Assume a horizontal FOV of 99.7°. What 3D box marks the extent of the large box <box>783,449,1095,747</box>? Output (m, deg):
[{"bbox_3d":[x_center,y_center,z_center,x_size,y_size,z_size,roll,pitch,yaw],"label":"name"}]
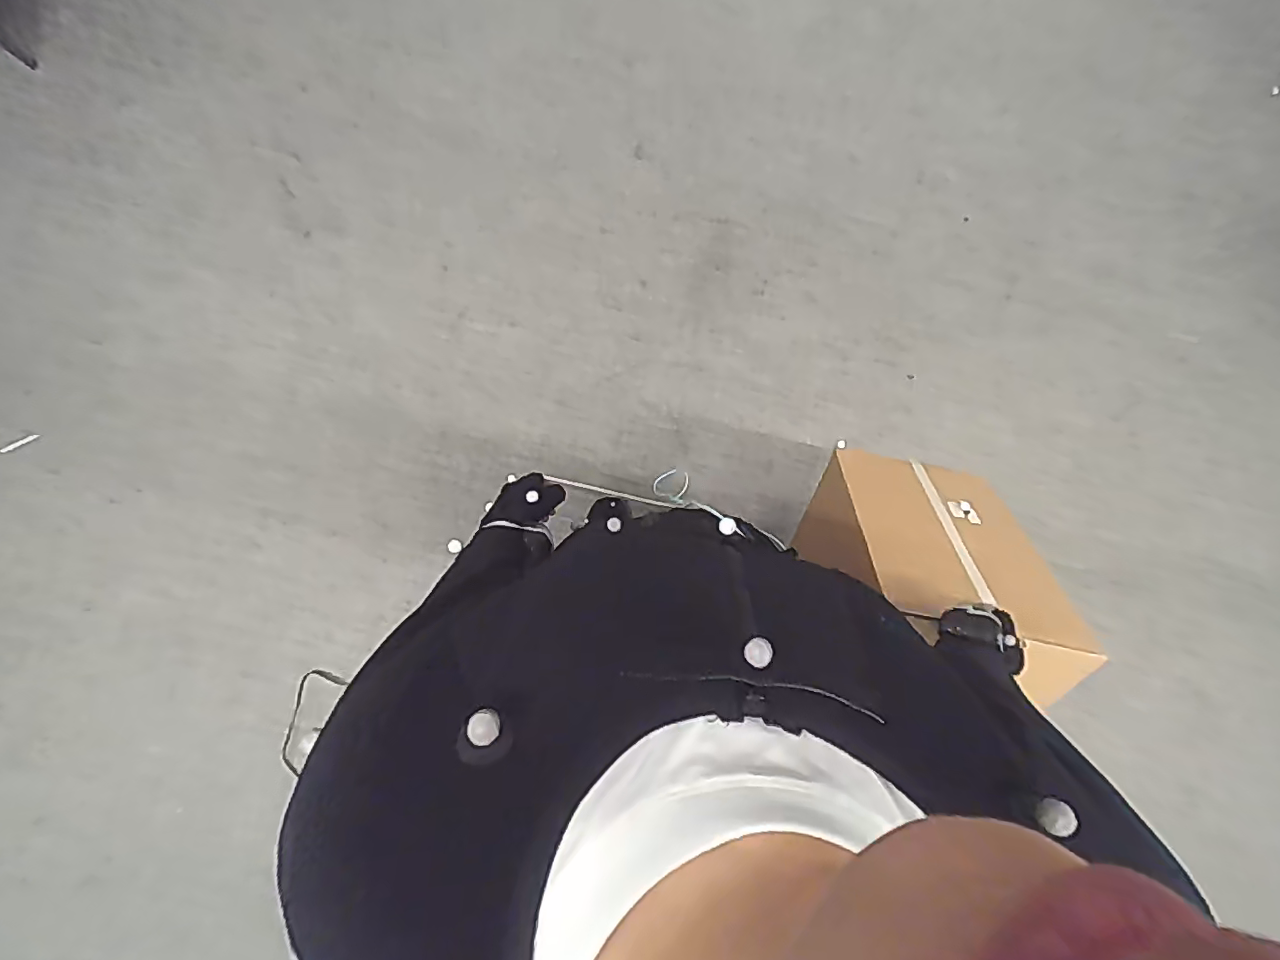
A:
[{"bbox_3d":[0.476,0.203,0.987,0.320,0.408,0.320,12,127,-2],"label":"large box"}]
